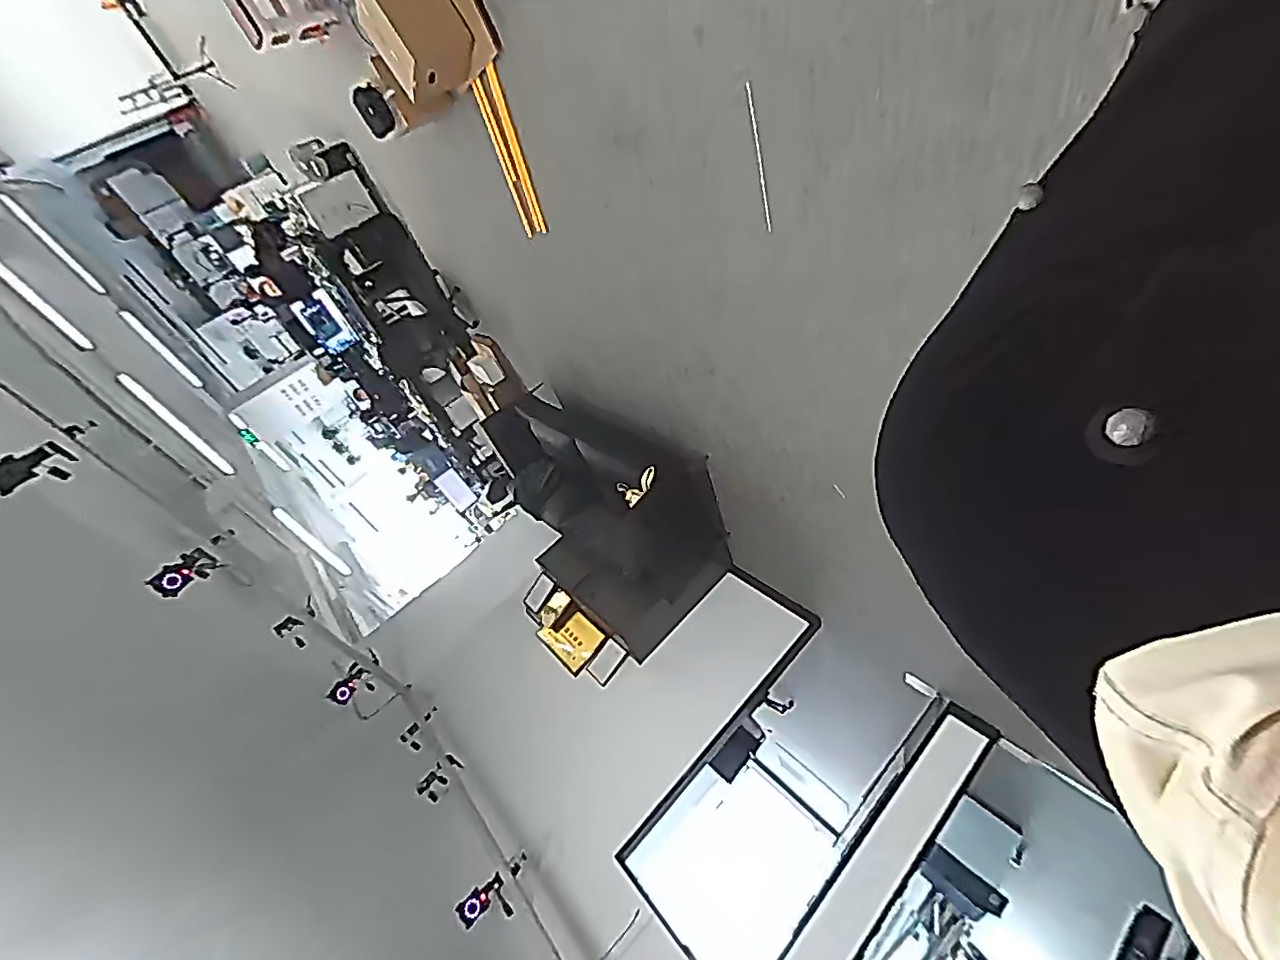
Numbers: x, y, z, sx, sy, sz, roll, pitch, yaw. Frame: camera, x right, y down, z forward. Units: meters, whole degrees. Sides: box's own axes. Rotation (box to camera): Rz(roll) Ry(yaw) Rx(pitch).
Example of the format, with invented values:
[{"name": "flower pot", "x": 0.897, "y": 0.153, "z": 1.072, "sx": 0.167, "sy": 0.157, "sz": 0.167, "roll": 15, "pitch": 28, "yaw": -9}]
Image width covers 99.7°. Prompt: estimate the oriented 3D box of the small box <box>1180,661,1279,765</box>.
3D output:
[{"name": "small box", "x": 1.659, "y": 0.637, "z": 1.485, "sx": 0.168, "sy": 0.176, "sz": 0.179, "roll": 33, "pitch": 156, "yaw": 38}]
